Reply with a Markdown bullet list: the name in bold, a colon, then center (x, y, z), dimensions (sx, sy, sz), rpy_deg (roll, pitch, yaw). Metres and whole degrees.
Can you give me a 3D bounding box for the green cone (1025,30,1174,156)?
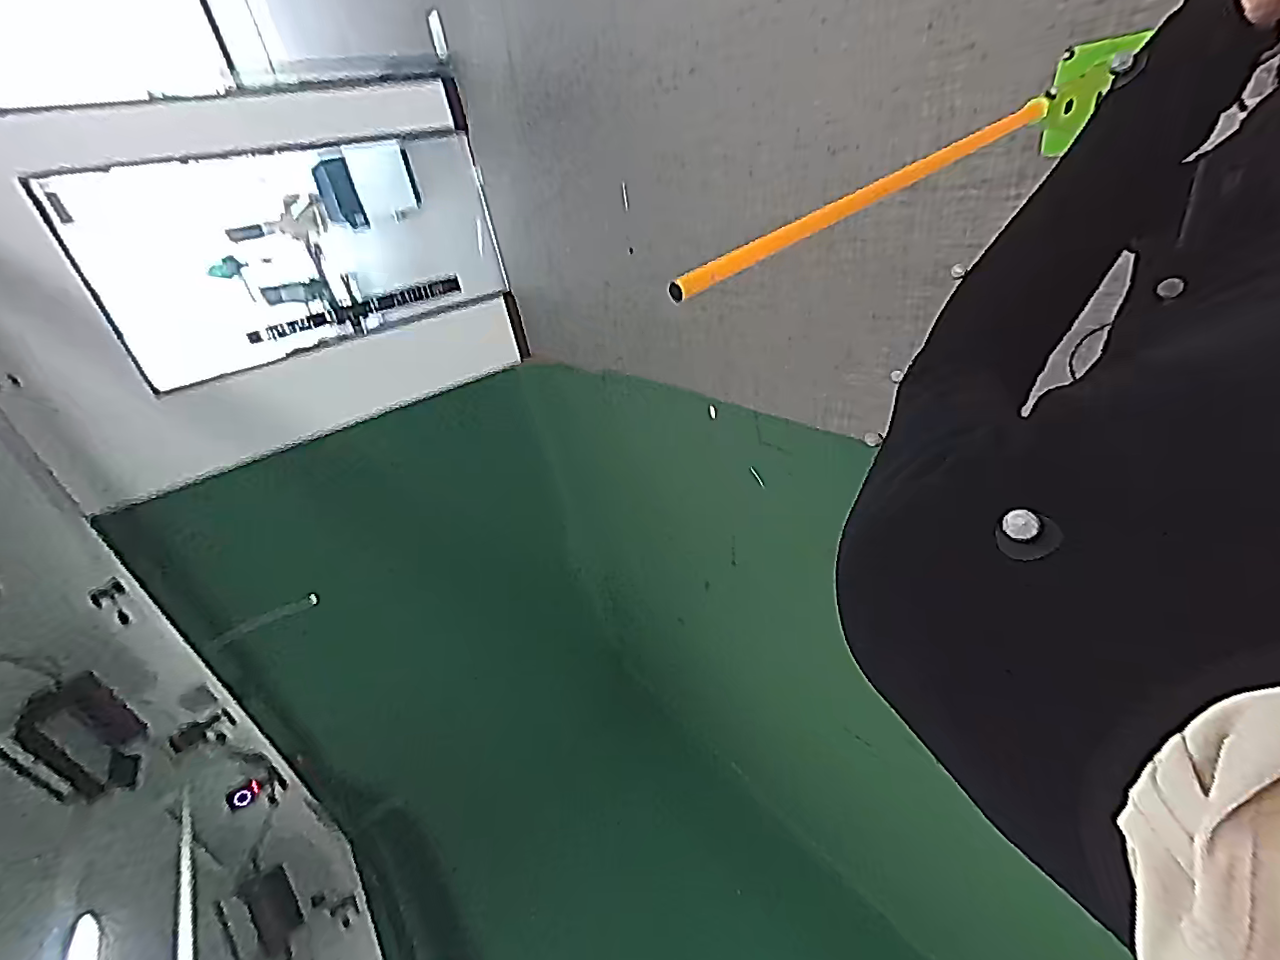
- **green cone**: center (0.840, -0.730, 1.056), dimensions (0.202, 0.368, 0.200), rpy_deg (26, 136, 44)
